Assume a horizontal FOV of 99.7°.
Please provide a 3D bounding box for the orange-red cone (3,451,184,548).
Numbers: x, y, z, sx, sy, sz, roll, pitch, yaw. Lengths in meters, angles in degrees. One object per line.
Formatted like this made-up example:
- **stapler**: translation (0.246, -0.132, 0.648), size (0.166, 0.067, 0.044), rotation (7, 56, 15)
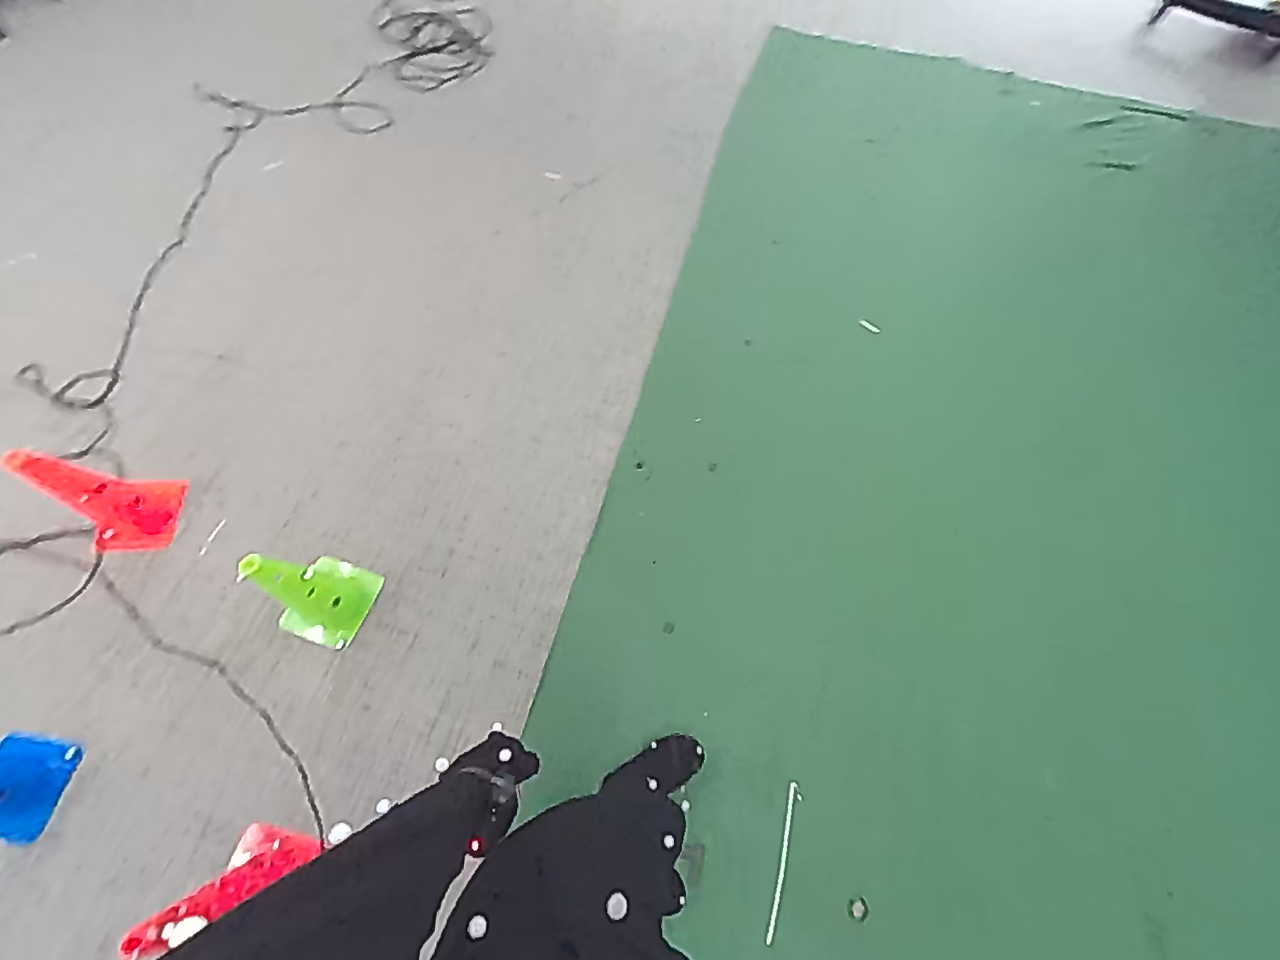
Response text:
- **orange-red cone**: translation (-1.378, 0.023, 1.341), size (0.199, 0.360, 0.198), rotation (0, 66, -4)

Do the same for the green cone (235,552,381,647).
- **green cone**: translation (-0.802, 0.239, 1.258), size (0.202, 0.368, 0.200), rotation (17, 65, 7)
